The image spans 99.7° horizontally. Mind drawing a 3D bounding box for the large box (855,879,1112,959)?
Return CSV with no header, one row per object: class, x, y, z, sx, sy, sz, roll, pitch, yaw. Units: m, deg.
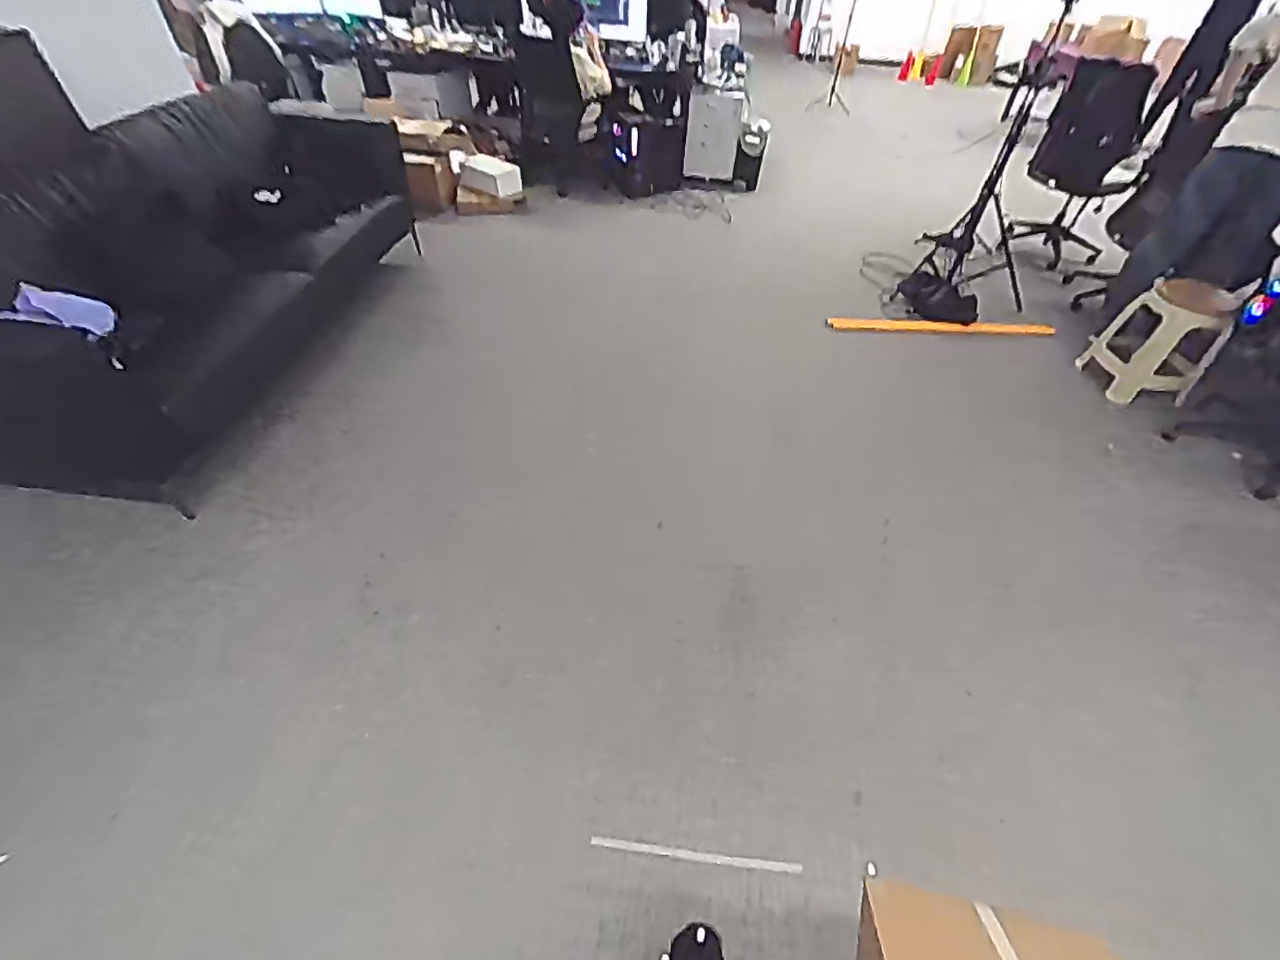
large box,0.421,0.756,0.582,0.320,0.408,0.320,7,90,13
